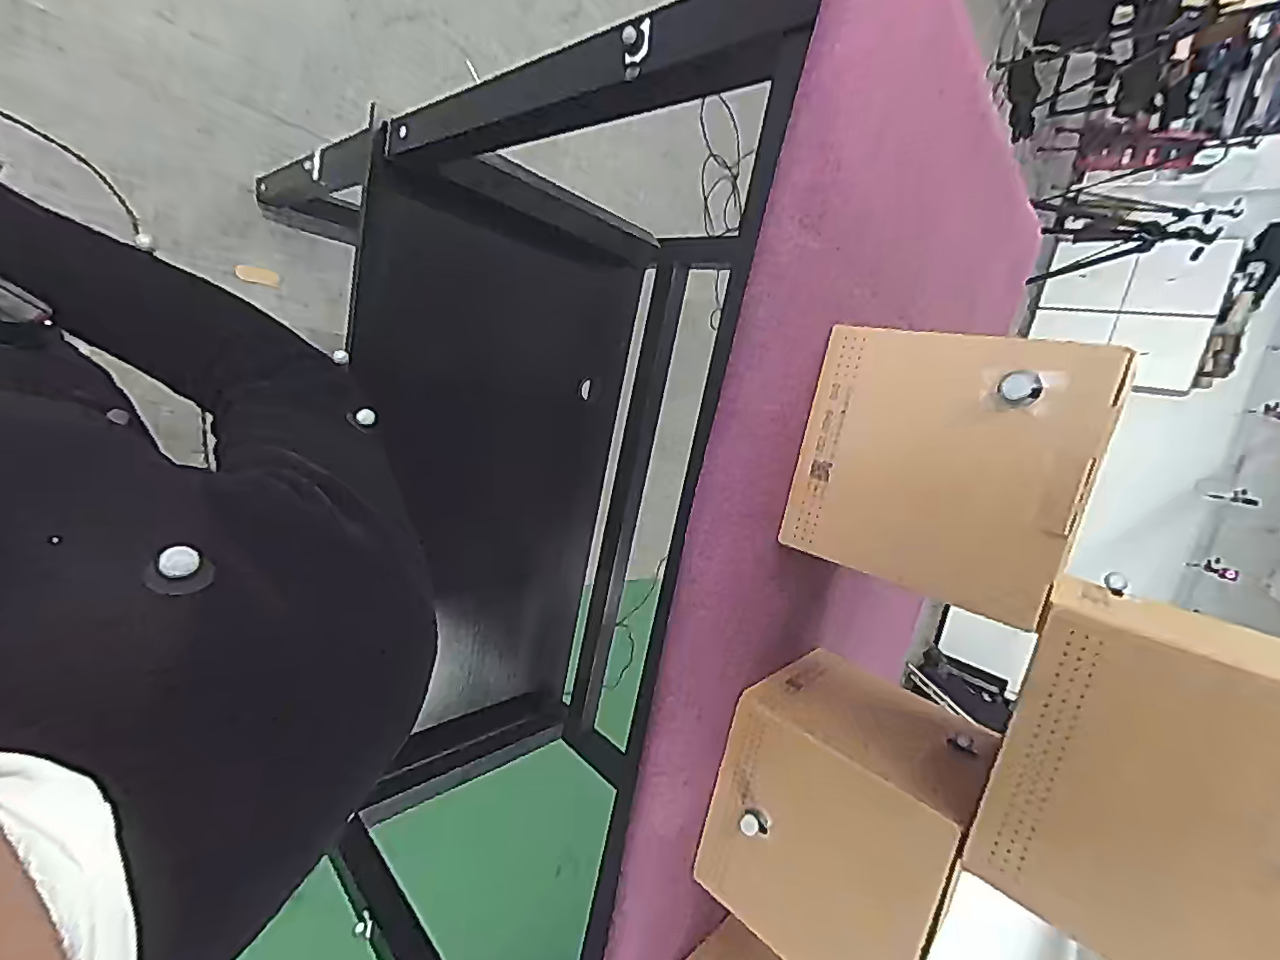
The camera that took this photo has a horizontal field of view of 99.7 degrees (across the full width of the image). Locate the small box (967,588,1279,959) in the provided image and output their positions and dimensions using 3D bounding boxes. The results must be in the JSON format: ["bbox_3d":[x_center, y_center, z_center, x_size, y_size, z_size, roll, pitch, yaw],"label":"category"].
[{"bbox_3d":[0.324,0.176,0.328,0.168,0.176,0.179,3,103,-50],"label":"small box"}]
